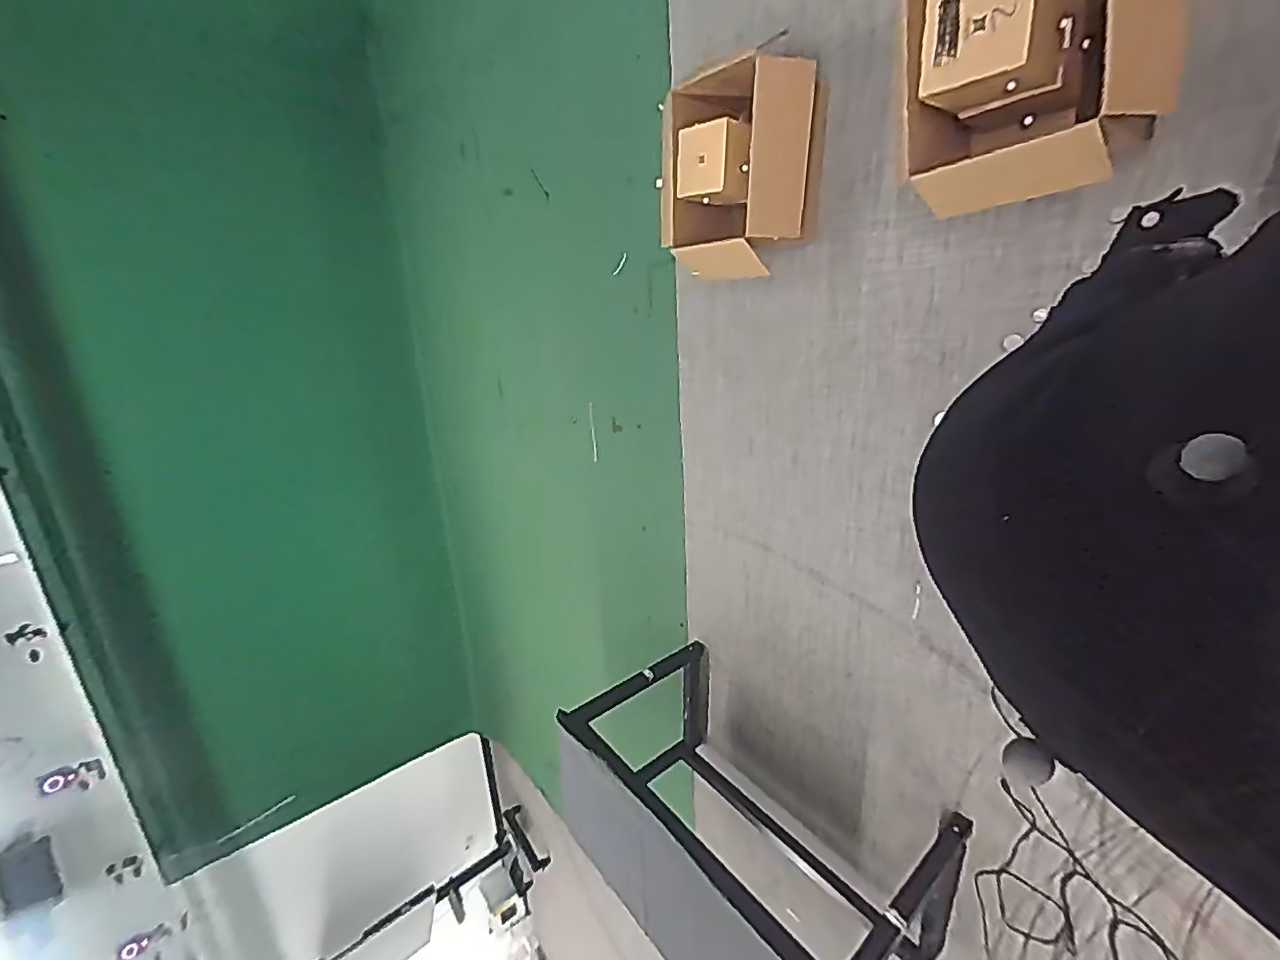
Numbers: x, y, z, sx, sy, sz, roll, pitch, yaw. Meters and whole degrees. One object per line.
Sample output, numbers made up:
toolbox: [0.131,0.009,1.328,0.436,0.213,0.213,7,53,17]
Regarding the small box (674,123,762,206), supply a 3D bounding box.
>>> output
small box: [0.215,-0.857,1.484,0.179,0.176,0.168,21,118,46]
